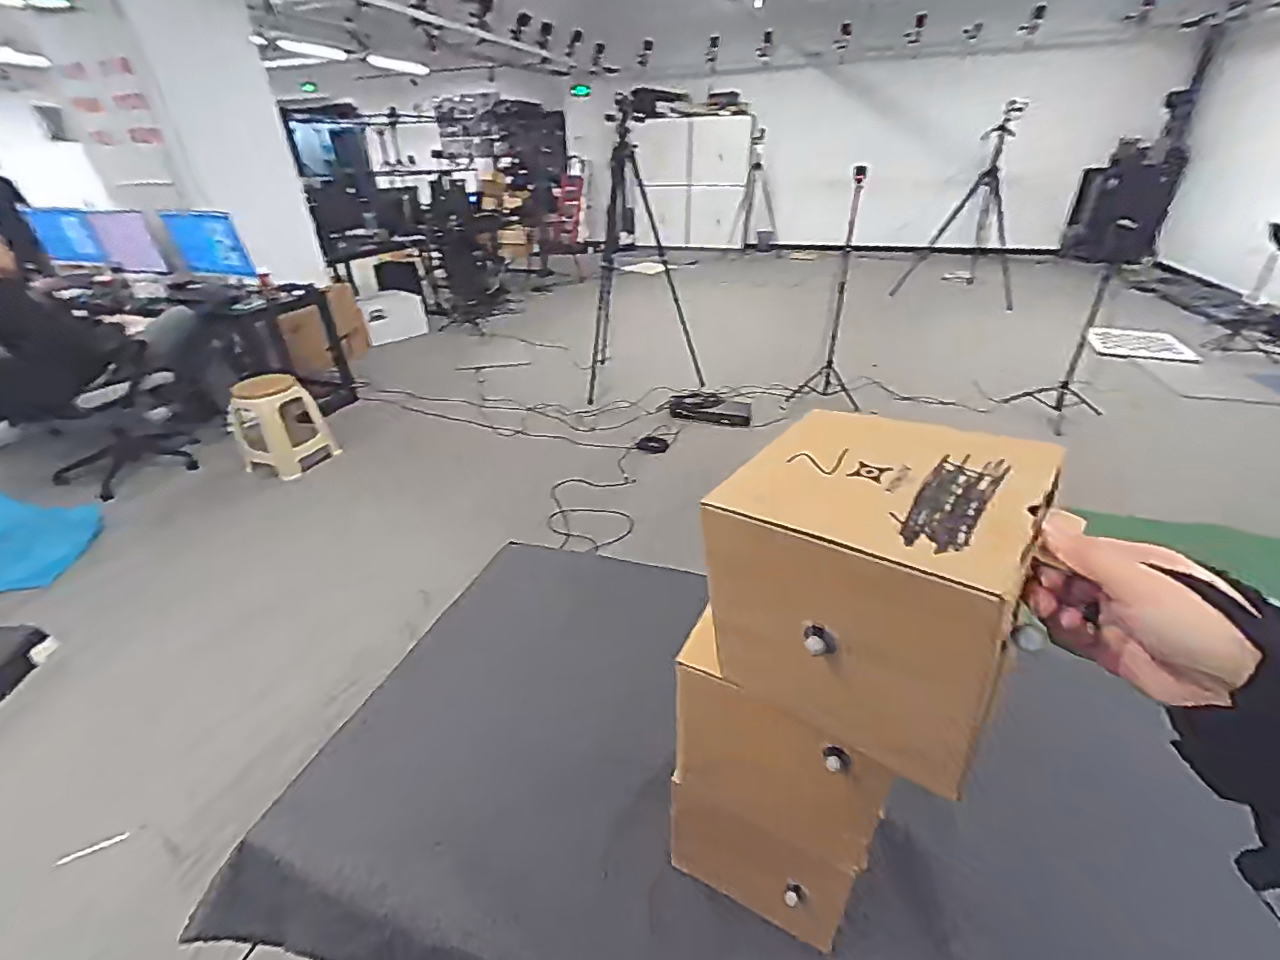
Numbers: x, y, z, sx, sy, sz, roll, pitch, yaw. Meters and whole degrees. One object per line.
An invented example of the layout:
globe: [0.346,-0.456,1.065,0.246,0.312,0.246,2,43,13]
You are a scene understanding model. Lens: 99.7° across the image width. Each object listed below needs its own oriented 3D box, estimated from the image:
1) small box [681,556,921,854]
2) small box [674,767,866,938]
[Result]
small box: [0.146,0.203,0.511,0.179,0.176,0.168,14,33,24]
small box: [0.149,0.346,0.590,0.179,0.176,0.168,13,33,25]
